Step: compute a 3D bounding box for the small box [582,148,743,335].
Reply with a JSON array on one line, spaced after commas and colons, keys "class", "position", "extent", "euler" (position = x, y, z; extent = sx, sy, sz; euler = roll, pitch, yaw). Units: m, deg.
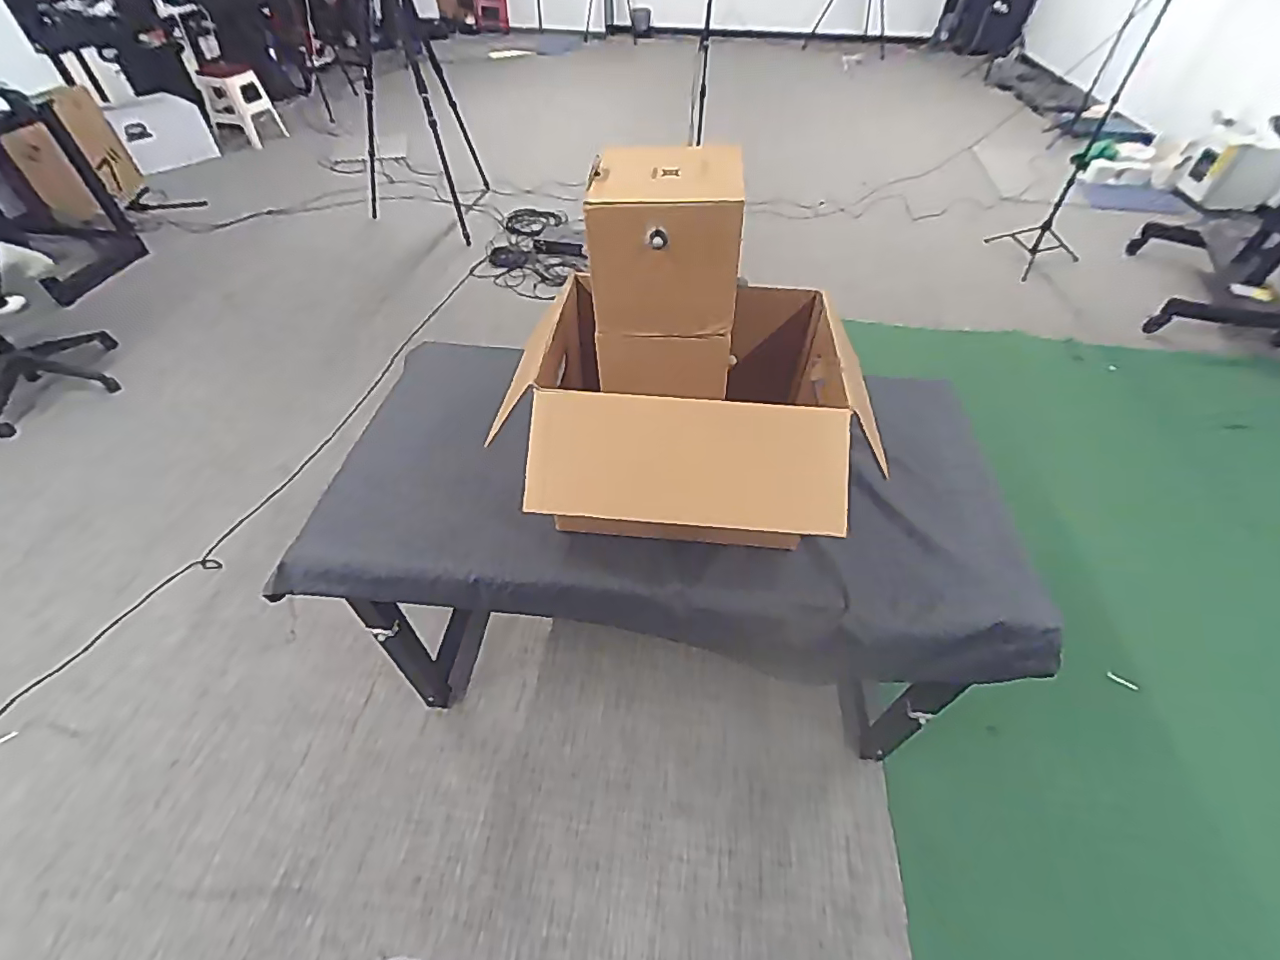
[{"class": "small box", "position": [0.033, -0.299, 0.686], "extent": [0.179, 0.176, 0.168], "euler": [2, 50, 4]}]
